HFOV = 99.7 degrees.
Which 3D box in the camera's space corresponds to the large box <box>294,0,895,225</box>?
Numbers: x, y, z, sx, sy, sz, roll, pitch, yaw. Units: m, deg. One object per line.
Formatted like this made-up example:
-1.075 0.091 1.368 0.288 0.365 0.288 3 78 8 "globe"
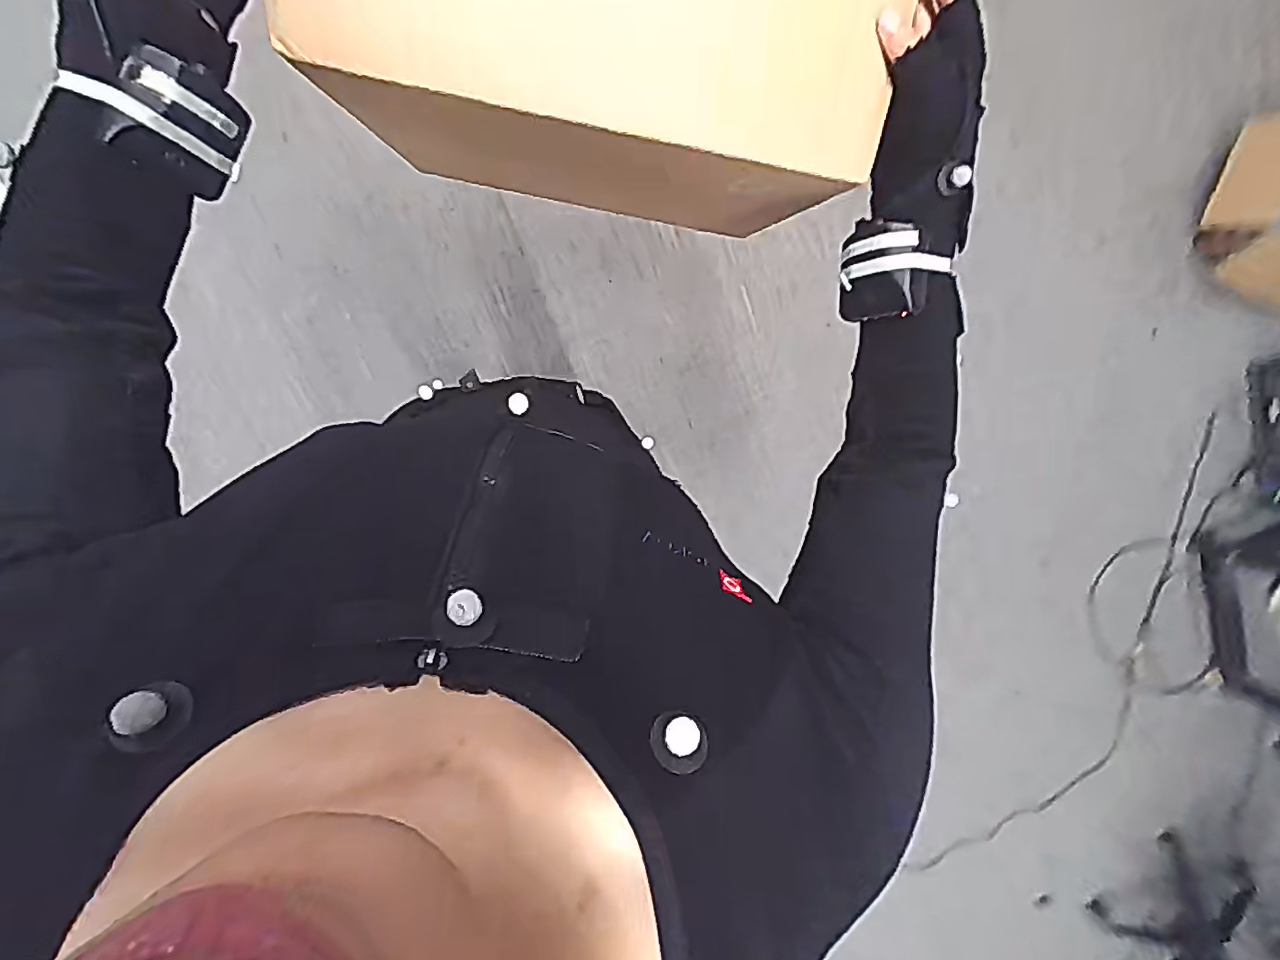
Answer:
-0.027 -0.442 0.479 0.408 0.320 0.320 6 107 -9 "large box"
